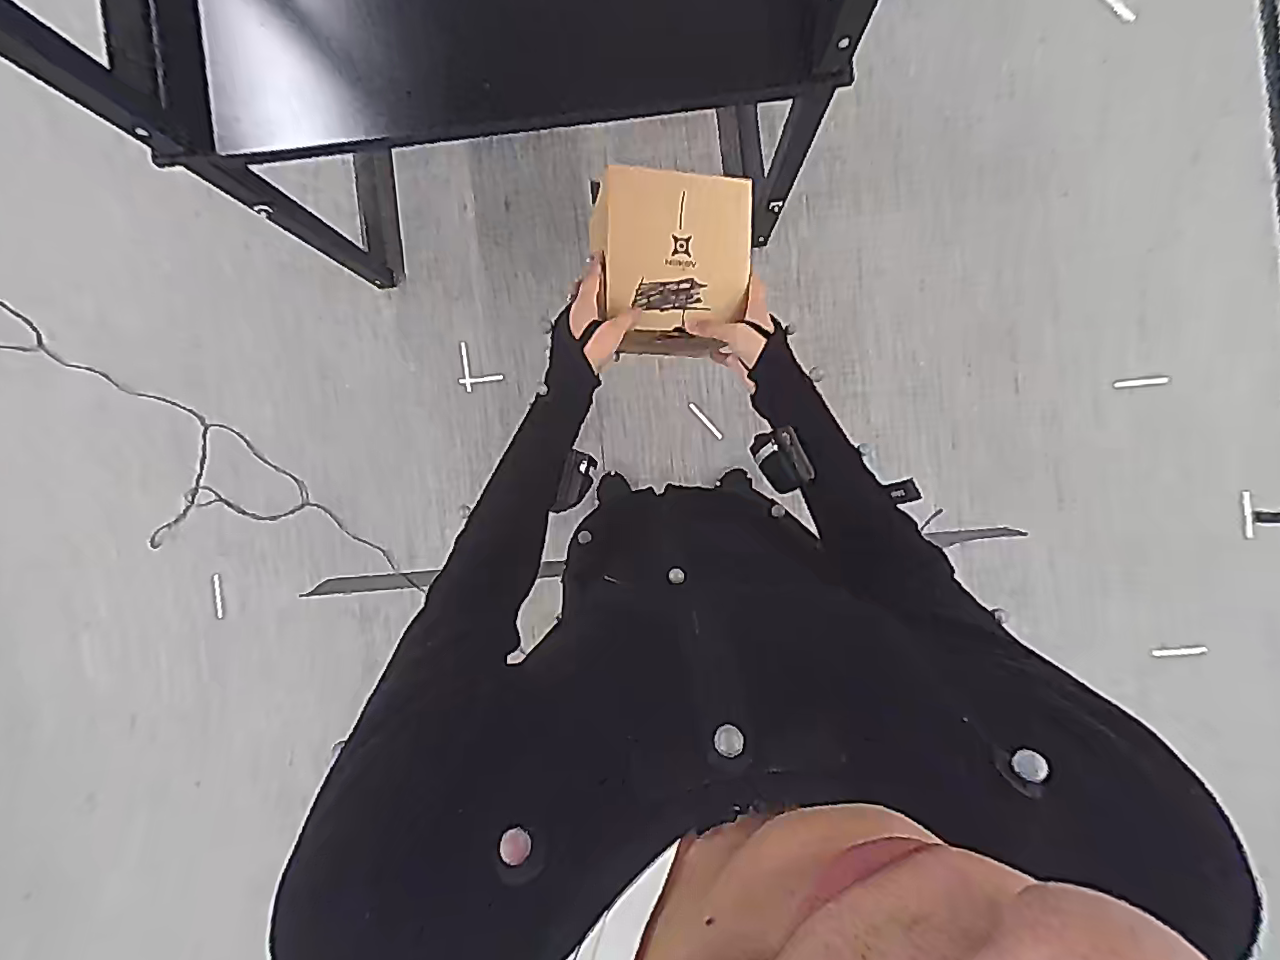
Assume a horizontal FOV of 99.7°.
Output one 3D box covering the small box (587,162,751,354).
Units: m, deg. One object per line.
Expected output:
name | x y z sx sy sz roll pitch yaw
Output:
small box | 0.026 -0.256 0.671 0.168 0.176 0.179 0 94 -12
